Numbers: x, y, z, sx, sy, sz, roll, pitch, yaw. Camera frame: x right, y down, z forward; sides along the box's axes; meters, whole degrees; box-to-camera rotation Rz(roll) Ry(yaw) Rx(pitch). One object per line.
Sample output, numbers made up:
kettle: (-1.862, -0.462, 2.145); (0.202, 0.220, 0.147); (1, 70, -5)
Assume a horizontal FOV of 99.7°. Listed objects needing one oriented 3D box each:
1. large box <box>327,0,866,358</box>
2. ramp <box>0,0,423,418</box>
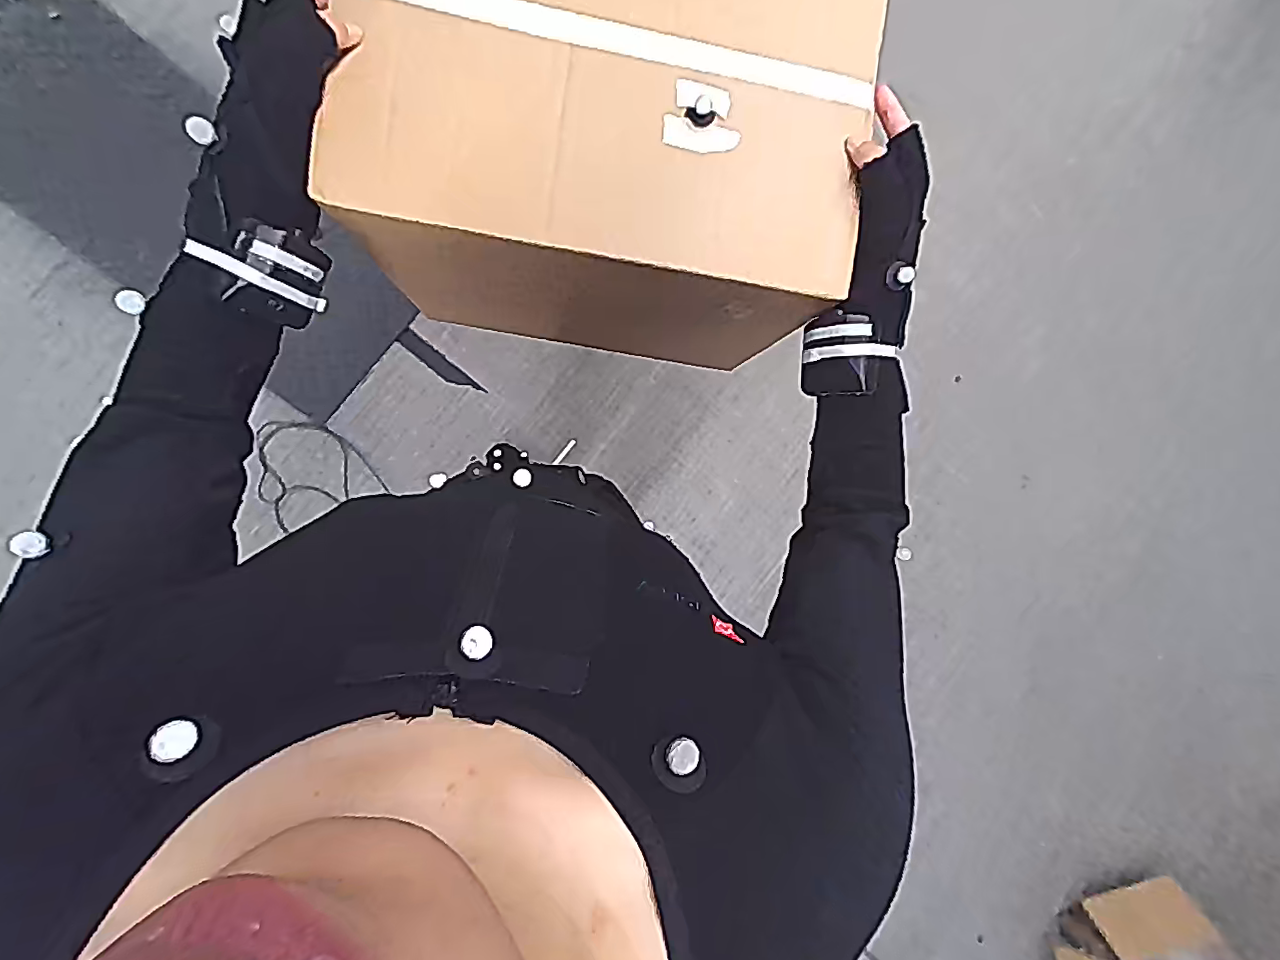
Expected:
large box: (-0.040, -0.335, 0.566); (0.408, 0.320, 0.320); (7, 91, -8)
ramp: (-1.045, -0.652, 1.315); (0.991, 0.206, 0.509); (37, 86, -5)
